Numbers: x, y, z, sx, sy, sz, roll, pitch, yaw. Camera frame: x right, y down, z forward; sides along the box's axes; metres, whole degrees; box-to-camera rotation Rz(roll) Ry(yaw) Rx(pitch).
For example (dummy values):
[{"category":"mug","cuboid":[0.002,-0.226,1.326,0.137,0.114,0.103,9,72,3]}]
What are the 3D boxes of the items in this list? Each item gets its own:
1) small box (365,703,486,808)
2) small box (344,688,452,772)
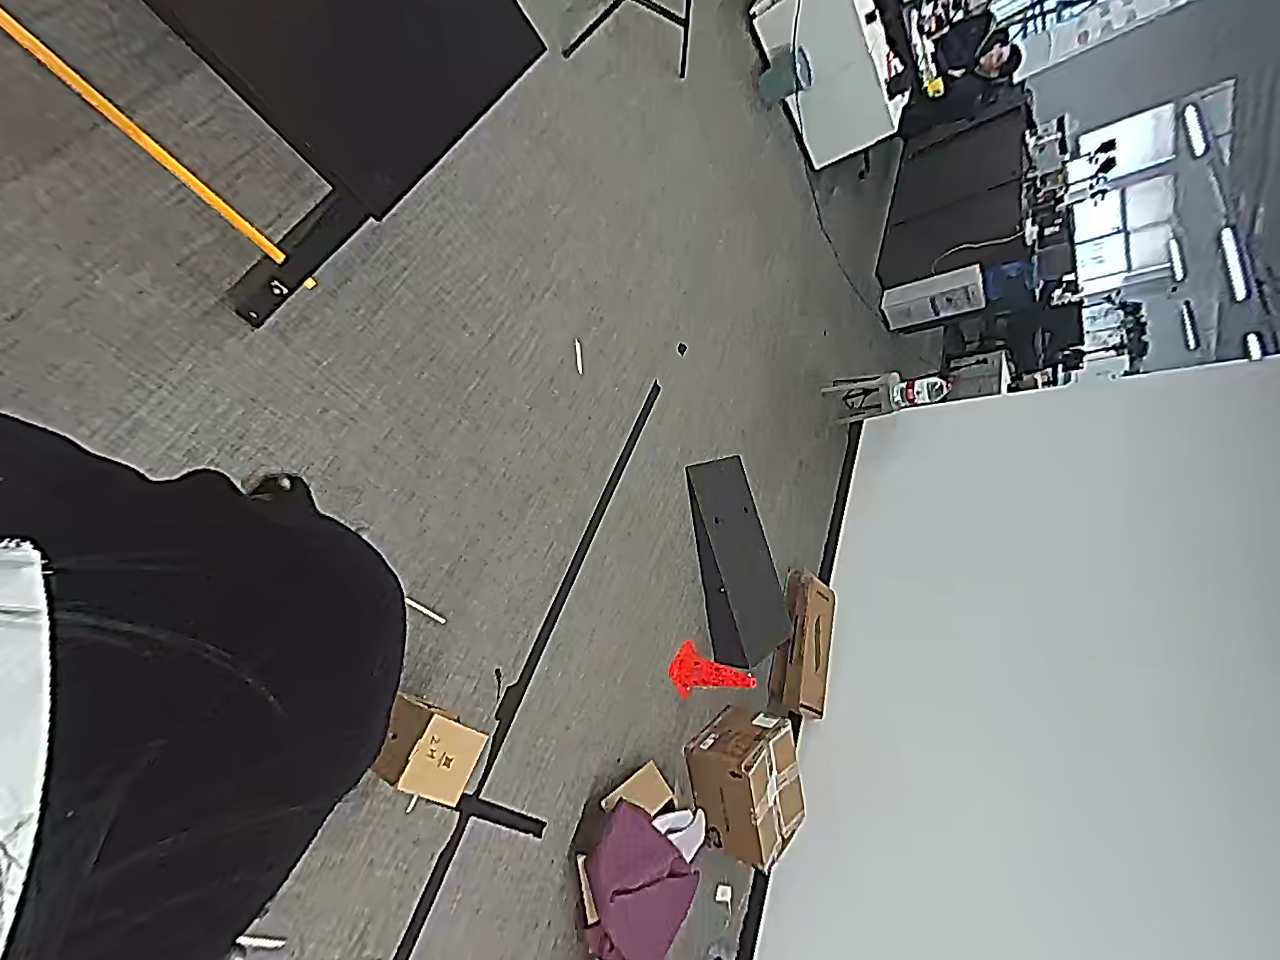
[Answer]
[{"category":"small box","cuboid":[-0.519,0.661,1.310,0.179,0.176,0.168,46,54,-35]},{"category":"small box","cuboid":[-0.640,0.667,1.421,0.168,0.176,0.179,43,57,-37]}]
